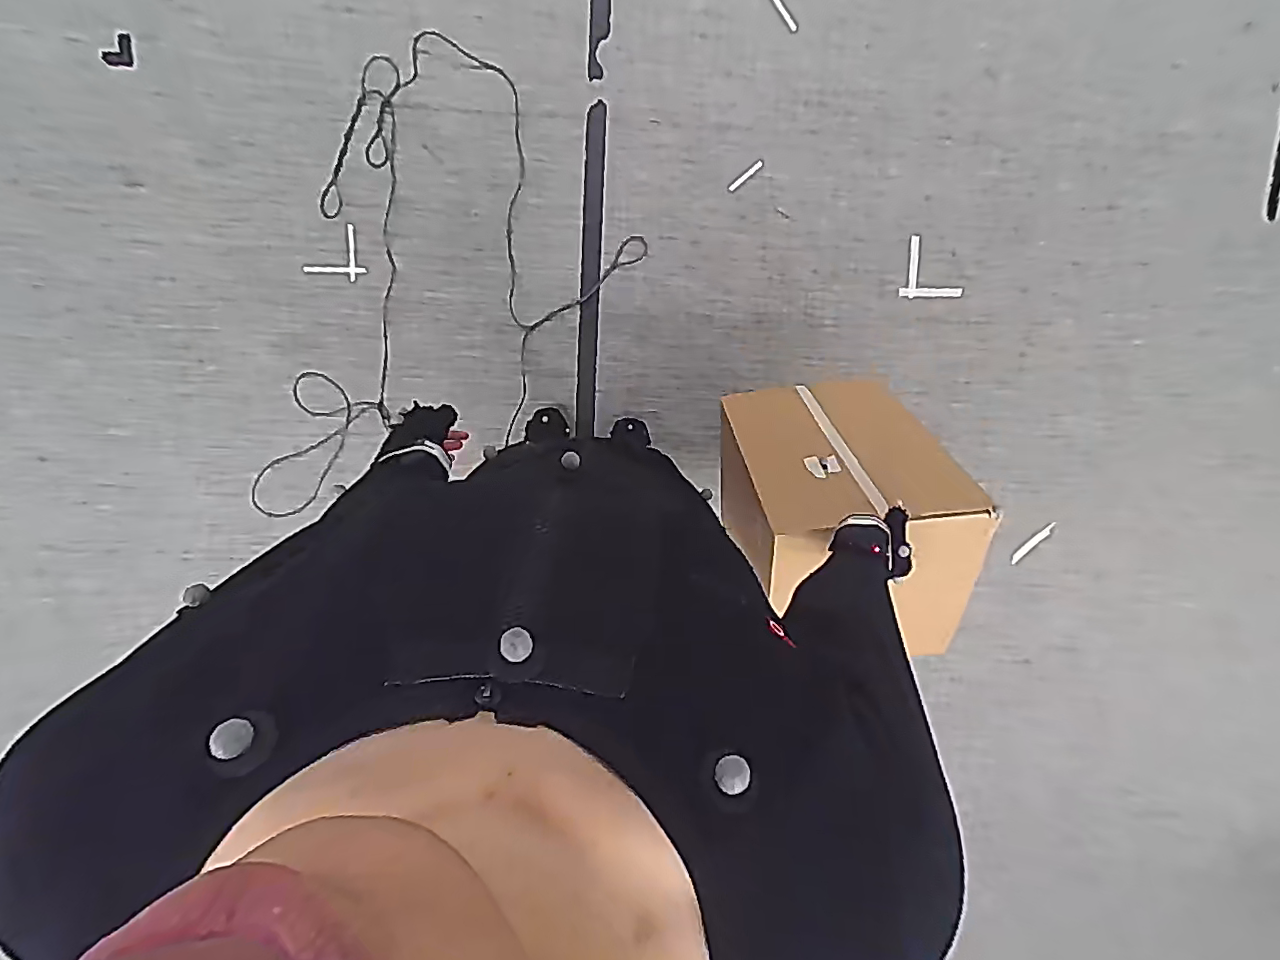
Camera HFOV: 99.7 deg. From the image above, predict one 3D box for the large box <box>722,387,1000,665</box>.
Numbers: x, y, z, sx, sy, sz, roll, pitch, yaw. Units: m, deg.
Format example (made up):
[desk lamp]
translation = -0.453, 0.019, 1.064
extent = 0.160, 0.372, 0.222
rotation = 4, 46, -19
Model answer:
[large box]
translation = 0.343, 0.068, 0.993
extent = 0.320, 0.408, 0.320
rotation = -7, 127, 0
